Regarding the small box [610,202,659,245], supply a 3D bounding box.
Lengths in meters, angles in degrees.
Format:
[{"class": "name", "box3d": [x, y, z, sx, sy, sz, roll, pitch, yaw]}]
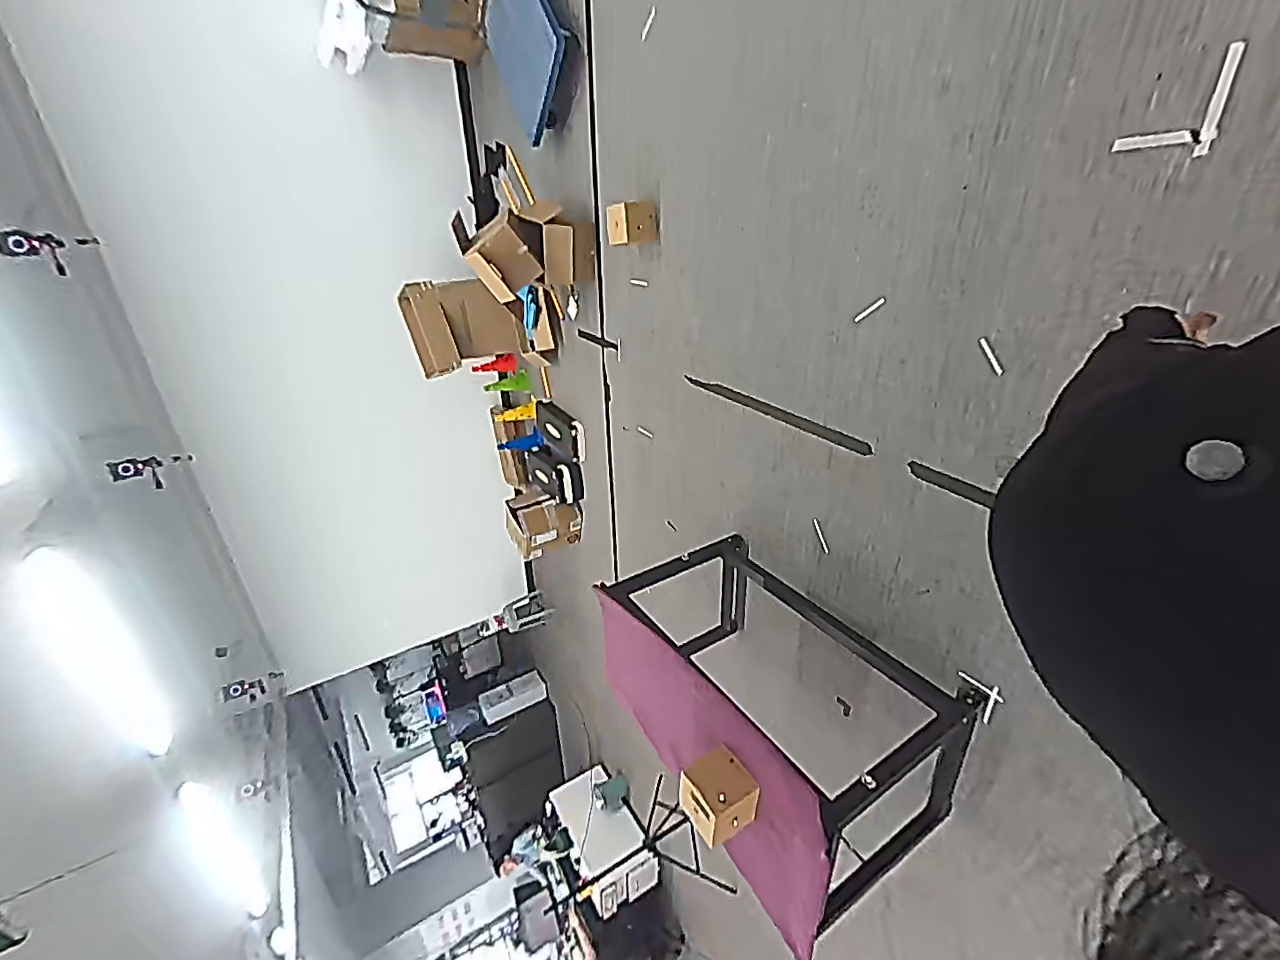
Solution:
[{"class": "small box", "box3d": [-0.021, -1.197, 2.521, 0.179, 0.176, 0.168, 27, 128, 55]}]
